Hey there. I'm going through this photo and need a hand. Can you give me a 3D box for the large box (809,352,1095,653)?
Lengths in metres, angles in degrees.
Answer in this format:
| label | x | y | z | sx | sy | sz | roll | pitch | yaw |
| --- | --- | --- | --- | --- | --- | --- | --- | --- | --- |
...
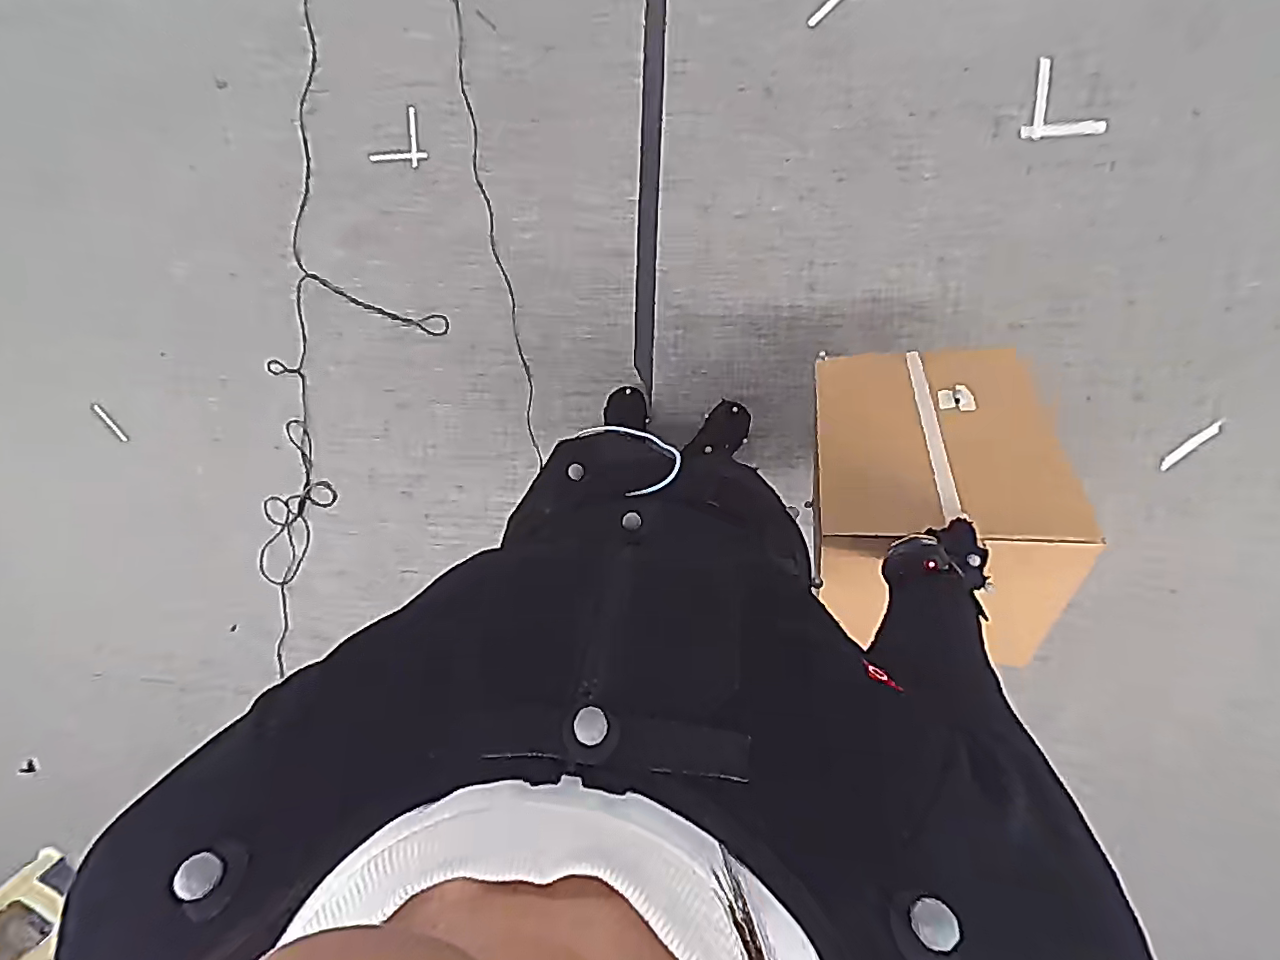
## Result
| label | x | y | z | sx | sy | sz | roll | pitch | yaw |
| --- | --- | --- | --- | --- | --- | --- | --- | --- | --- |
| large box | 0.455 | 0.034 | 0.910 | 0.320 | 0.408 | 0.320 | 0 | 135 | 15 |
